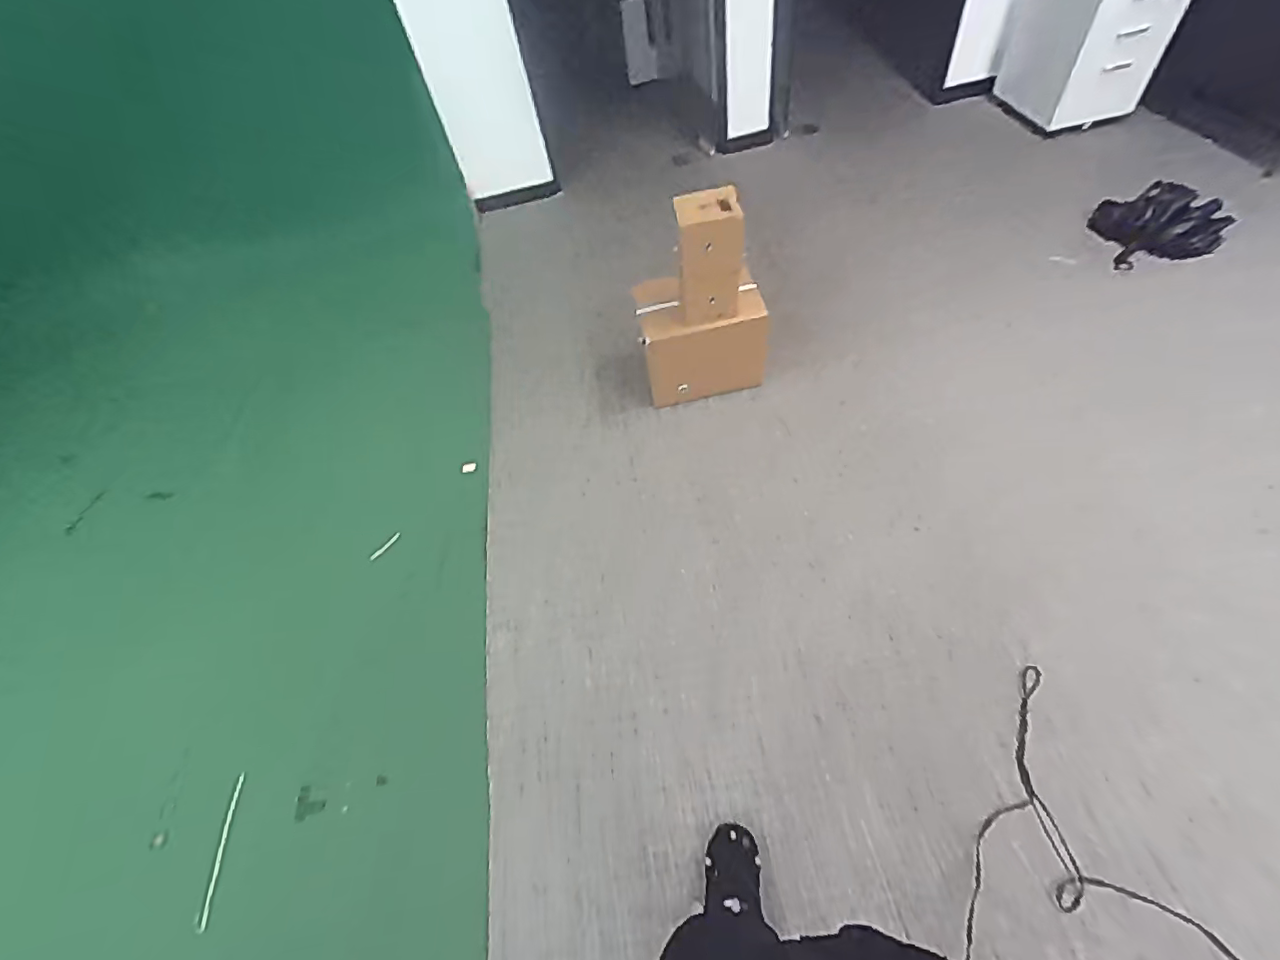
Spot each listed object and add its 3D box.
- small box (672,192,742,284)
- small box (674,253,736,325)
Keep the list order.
[{"bbox_3d":[0.193,-0.694,1.557,0.179,0.176,0.168,-8,54,5],"label":"small box"},{"bbox_3d":[0.206,-0.605,1.696,0.168,0.176,0.179,-10,54,2],"label":"small box"}]
